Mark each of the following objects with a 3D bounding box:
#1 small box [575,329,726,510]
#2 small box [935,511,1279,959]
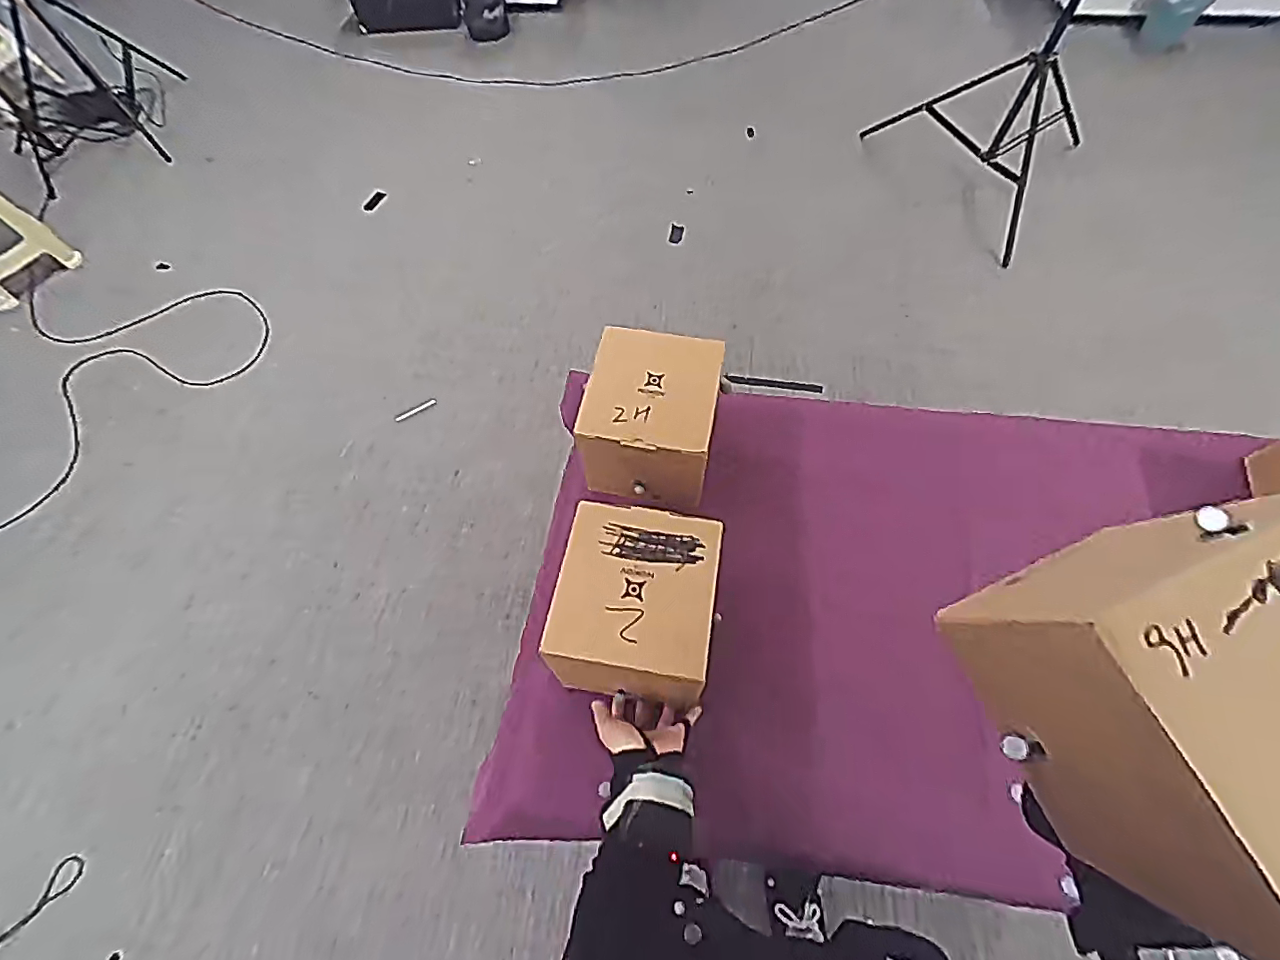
[{"bbox_3d":[0.018,-0.080,0.758,0.168,0.176,0.179,10,65,7],"label":"small box"},{"bbox_3d":[0.324,0.129,0.321,0.168,0.176,0.179,-25,76,-3],"label":"small box"}]
